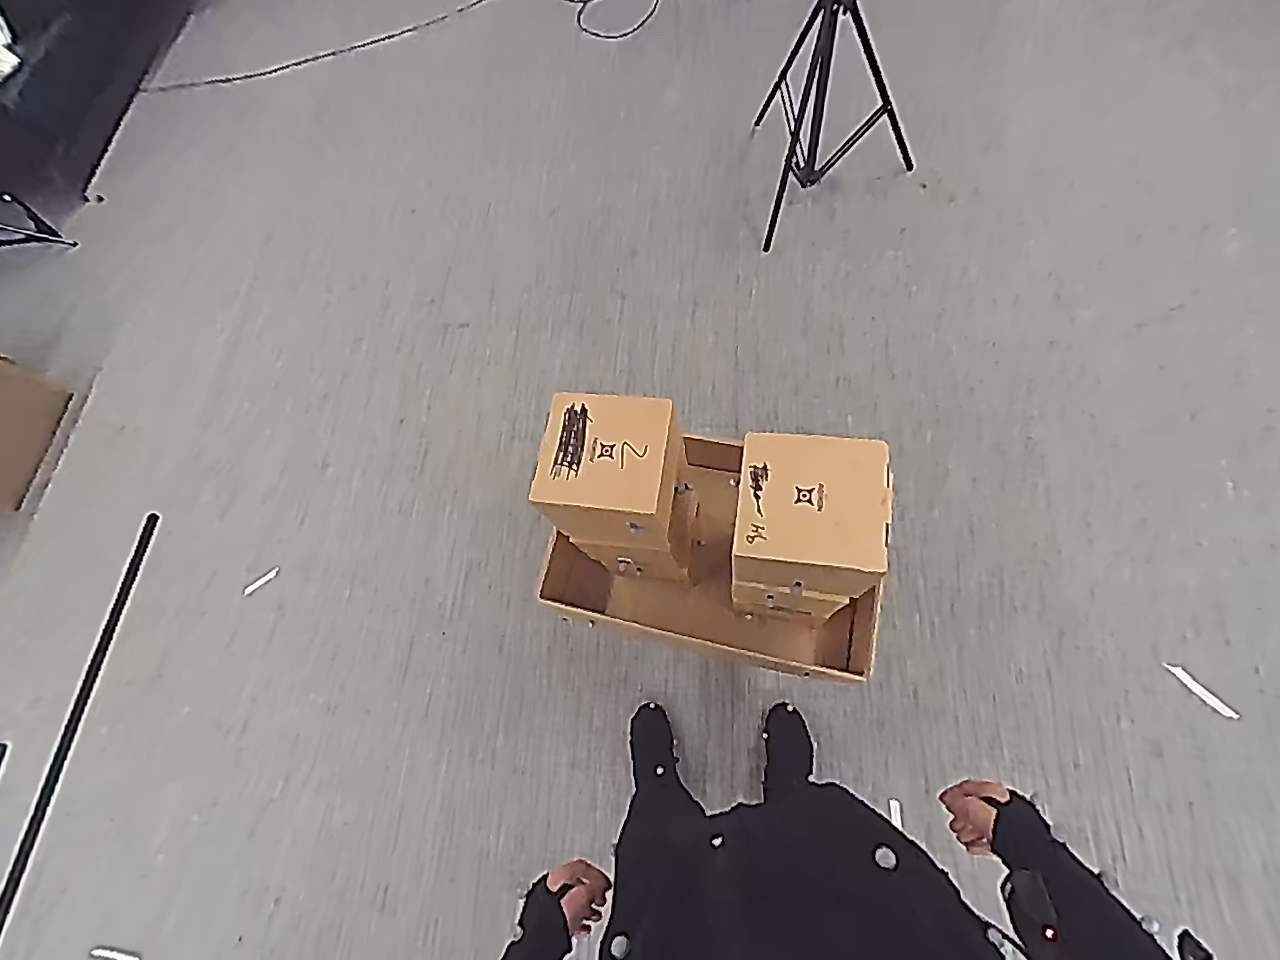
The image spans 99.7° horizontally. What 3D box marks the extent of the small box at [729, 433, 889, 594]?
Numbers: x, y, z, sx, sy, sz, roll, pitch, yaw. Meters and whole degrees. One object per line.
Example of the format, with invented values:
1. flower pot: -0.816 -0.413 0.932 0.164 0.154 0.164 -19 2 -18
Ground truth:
1. small box: 0.217 0.052 0.725 0.179 0.176 0.168 6 70 12

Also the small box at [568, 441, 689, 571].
1. small box: -0.010 0.049 0.940 0.168 0.176 0.179 4 71 13

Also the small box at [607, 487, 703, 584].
1. small box: 0.025 0.107 1.090 0.179 0.176 0.168 7 72 12

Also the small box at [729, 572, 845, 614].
1. small box: 0.240 0.111 0.876 0.168 0.176 0.179 8 71 13
